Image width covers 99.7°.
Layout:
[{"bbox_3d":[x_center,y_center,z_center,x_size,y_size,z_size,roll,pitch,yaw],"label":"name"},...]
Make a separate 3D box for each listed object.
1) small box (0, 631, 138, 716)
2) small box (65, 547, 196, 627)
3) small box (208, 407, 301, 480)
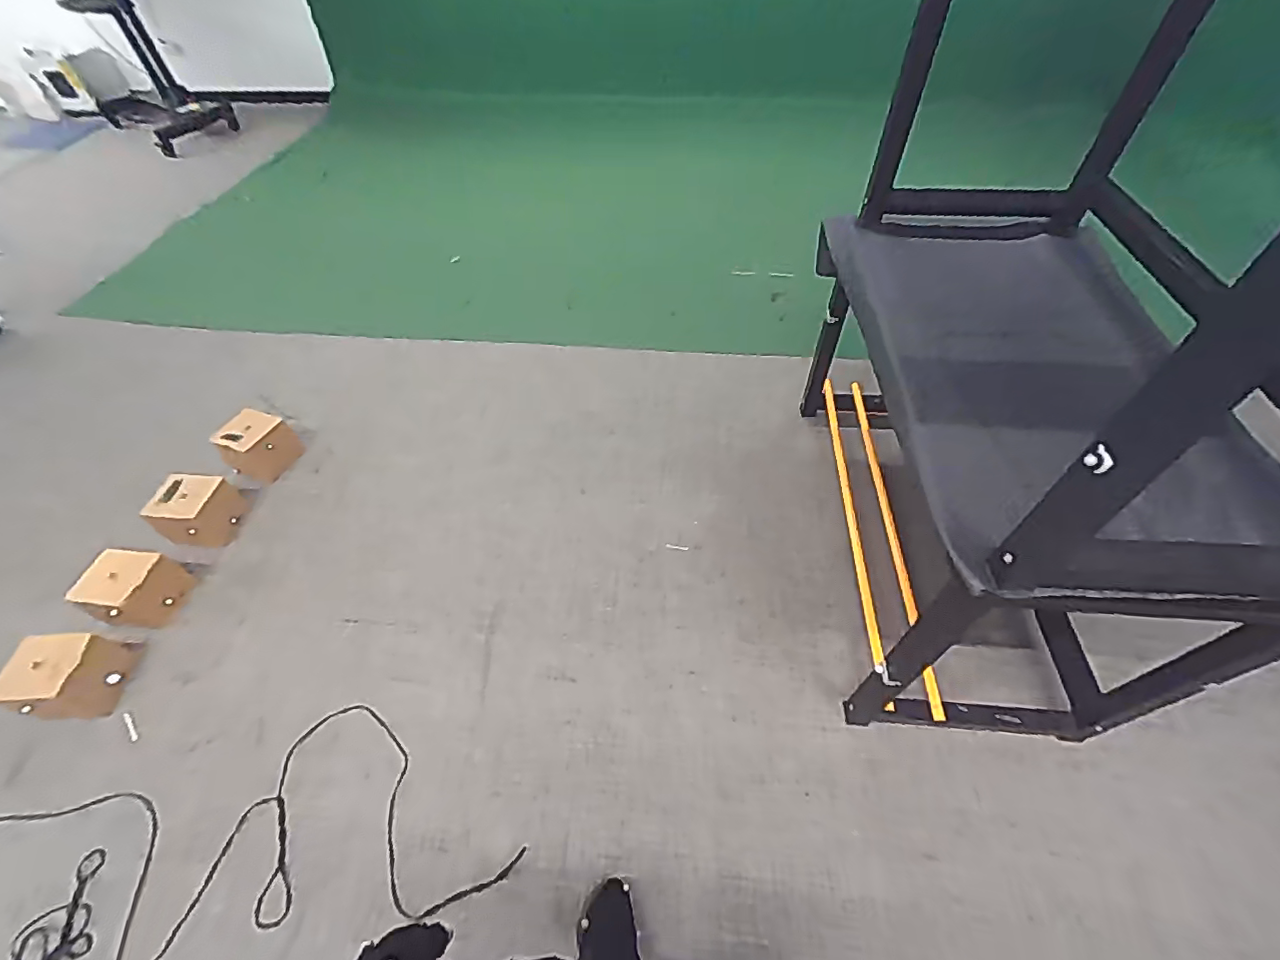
[{"bbox_3d":[-1.485,0.505,1.403,0.179,0.176,0.168,-2,52,-1],"label":"small box"},{"bbox_3d":[-1.459,0.312,1.563,0.179,0.176,0.168,4,51,4],"label":"small box"},{"bbox_3d":[-1.351,-0.126,1.914,0.168,0.176,0.179,16,52,13],"label":"small box"}]
